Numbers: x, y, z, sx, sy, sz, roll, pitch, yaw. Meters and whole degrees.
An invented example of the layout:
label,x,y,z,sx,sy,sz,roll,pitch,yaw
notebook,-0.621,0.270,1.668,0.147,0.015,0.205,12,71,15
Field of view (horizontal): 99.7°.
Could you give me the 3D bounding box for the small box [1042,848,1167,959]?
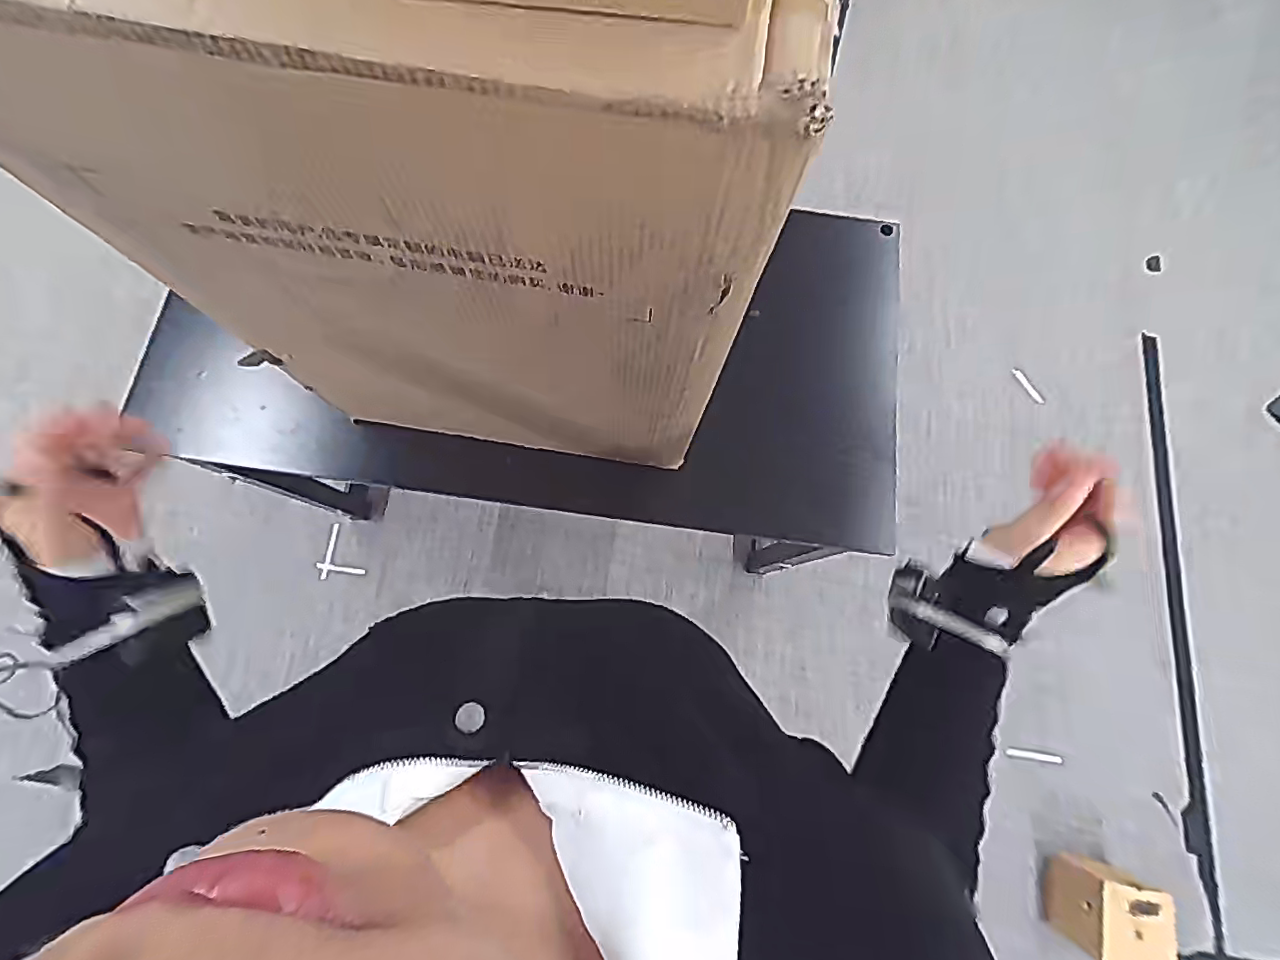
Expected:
label,x,y,z,sx,sy,sz,roll,pitch,yaw
small box,1.118,1.035,1.313,0.168,0.176,0.179,12,77,1
